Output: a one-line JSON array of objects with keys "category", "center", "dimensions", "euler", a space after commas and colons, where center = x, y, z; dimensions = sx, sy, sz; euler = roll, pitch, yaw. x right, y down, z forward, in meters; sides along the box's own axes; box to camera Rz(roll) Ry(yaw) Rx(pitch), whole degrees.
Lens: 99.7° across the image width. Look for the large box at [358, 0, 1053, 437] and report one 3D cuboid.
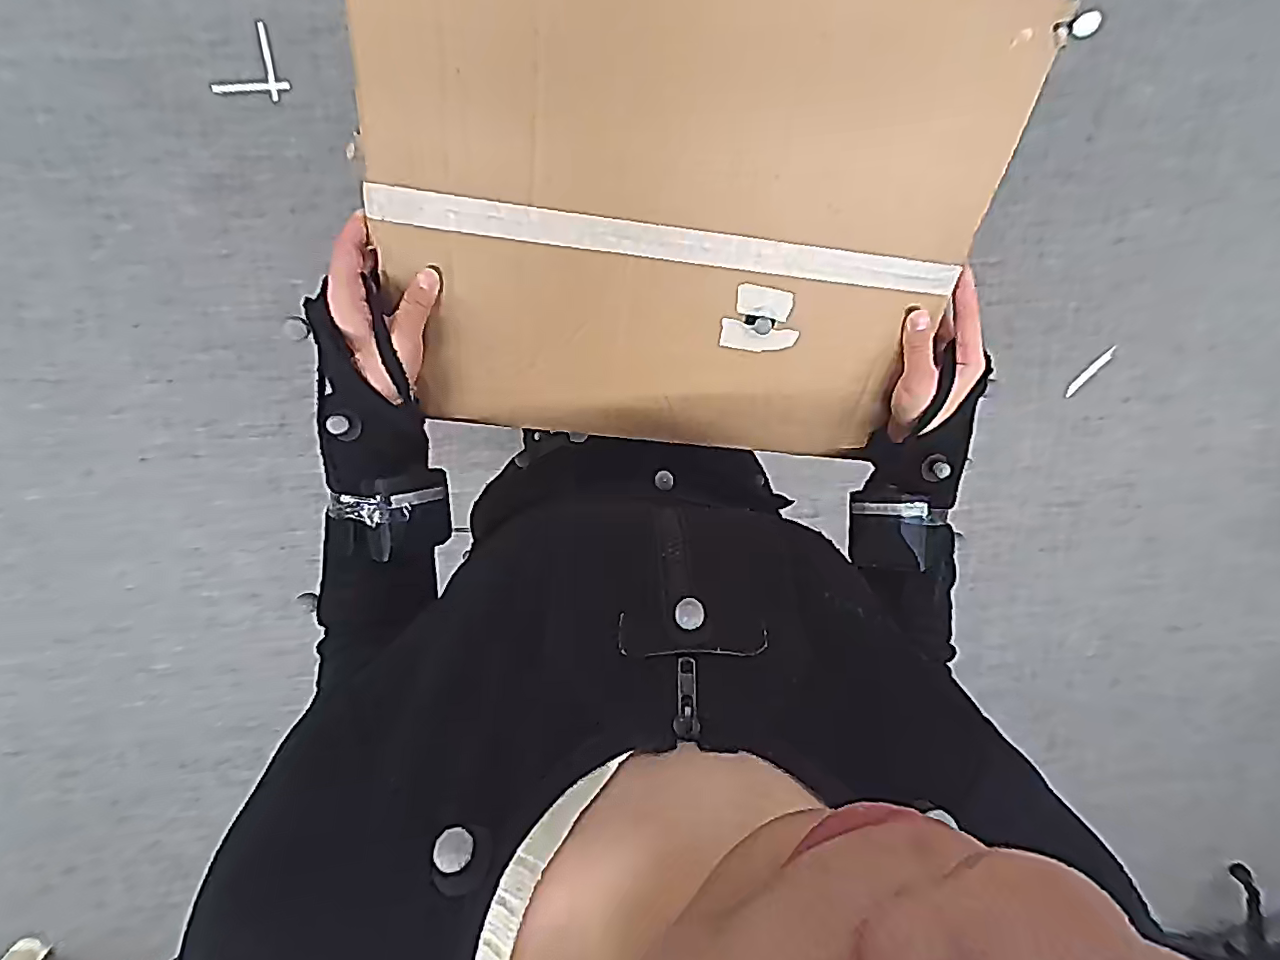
[{"category": "large box", "center": [0.018, -0.259, 0.494], "dimensions": [0.408, 0.320, 0.320], "euler": [4, 125, -8]}]
